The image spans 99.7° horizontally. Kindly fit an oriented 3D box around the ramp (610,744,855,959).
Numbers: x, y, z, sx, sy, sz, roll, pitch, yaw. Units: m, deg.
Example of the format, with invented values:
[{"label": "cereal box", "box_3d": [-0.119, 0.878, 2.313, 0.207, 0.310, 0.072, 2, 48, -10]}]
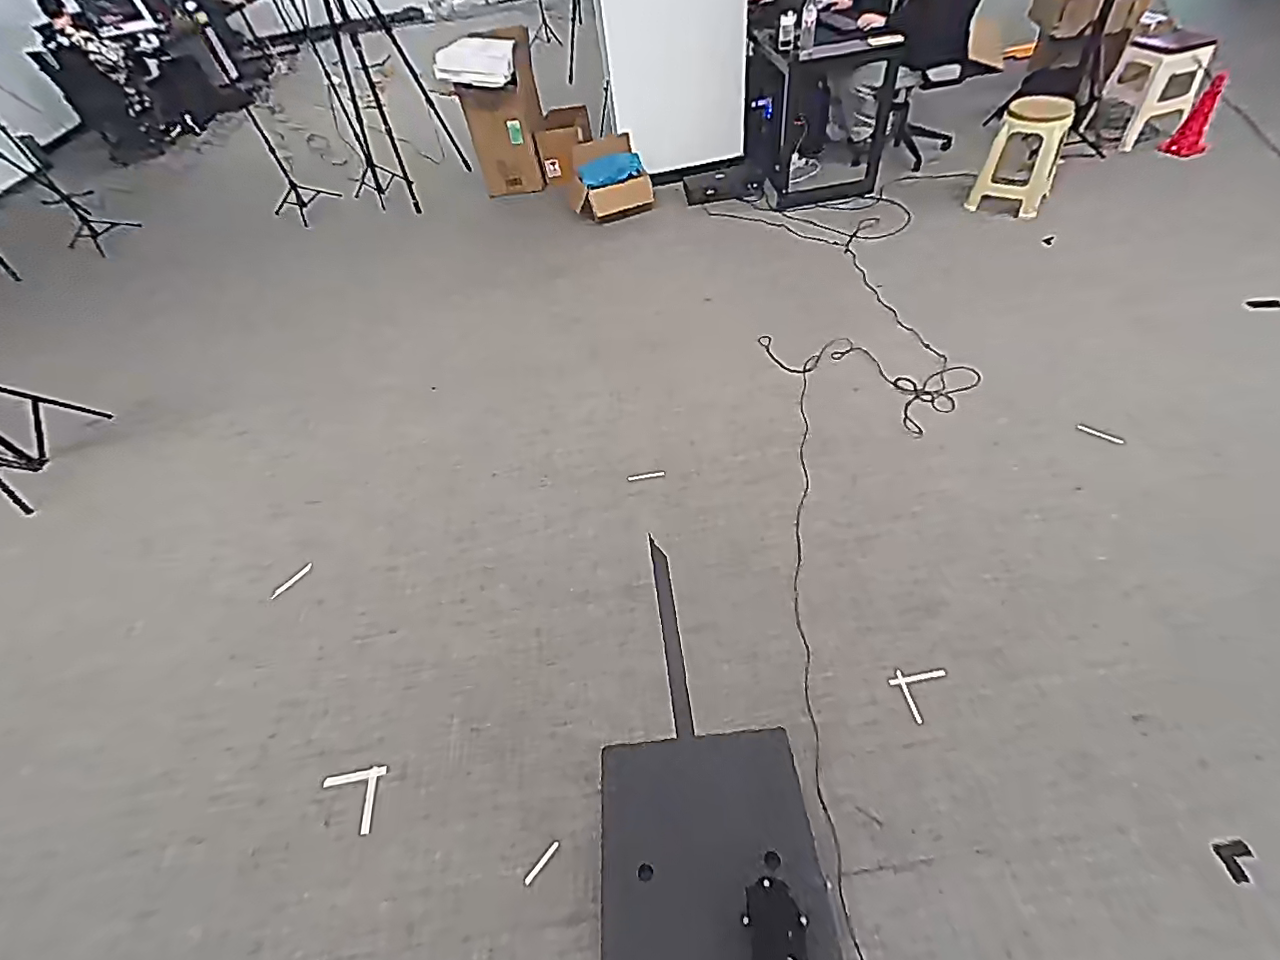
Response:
[{"label": "ramp", "box_3d": [0.189, 1.033, 1.032, 0.509, 0.206, 0.991, -11, 47, 2]}]
